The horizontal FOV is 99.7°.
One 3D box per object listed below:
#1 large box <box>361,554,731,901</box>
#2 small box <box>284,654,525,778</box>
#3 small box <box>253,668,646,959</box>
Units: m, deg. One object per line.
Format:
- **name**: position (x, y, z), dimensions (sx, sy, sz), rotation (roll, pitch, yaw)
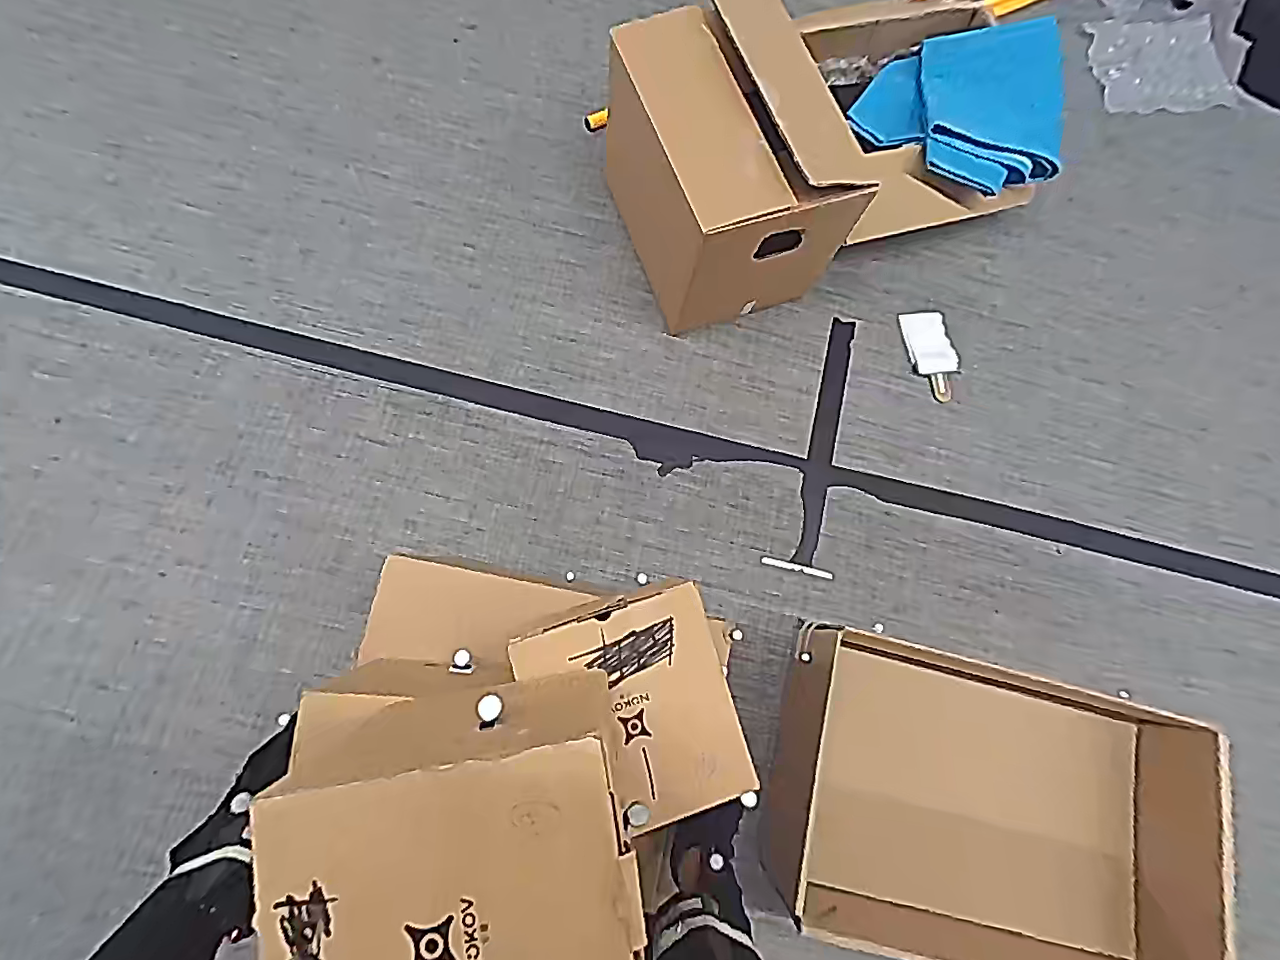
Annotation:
- **large box**: position (-0.130, 0.291, 0.736), dimensions (0.408, 0.320, 0.320), rotation (12, 81, -4)
- **small box**: position (-0.197, 0.263, 0.488), dimensions (0.168, 0.176, 0.179), rotation (5, 79, -7)
- **small box**: position (-0.096, 0.226, 0.336), dimensions (0.179, 0.176, 0.168), rotation (-8, 82, -6)
